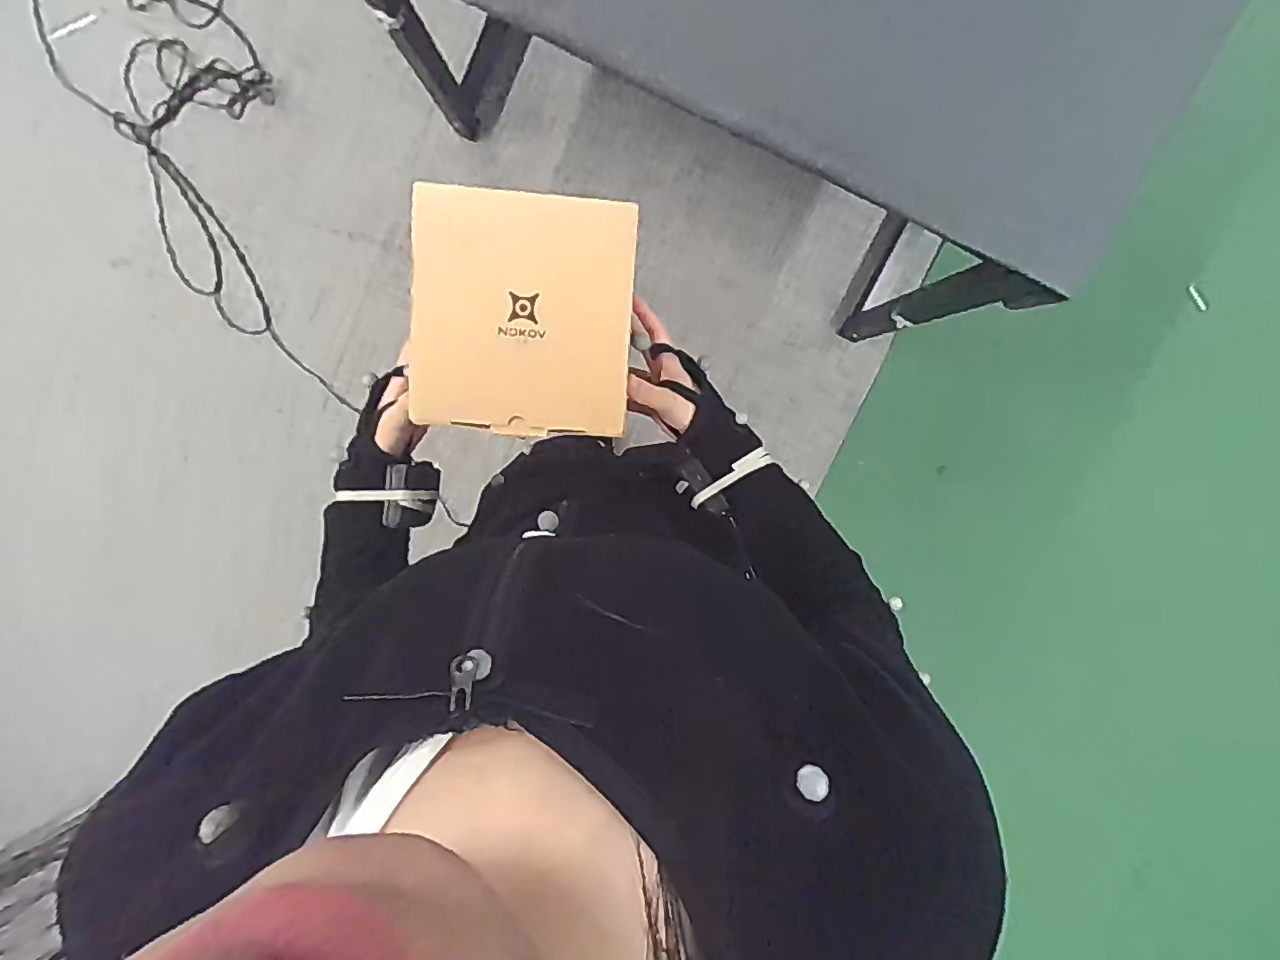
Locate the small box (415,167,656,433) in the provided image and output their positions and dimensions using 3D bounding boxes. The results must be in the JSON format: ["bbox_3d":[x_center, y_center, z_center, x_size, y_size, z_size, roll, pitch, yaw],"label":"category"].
[{"bbox_3d":[-0.085,-0.137,0.474,0.168,0.176,0.179,4,97,-7],"label":"small box"}]
